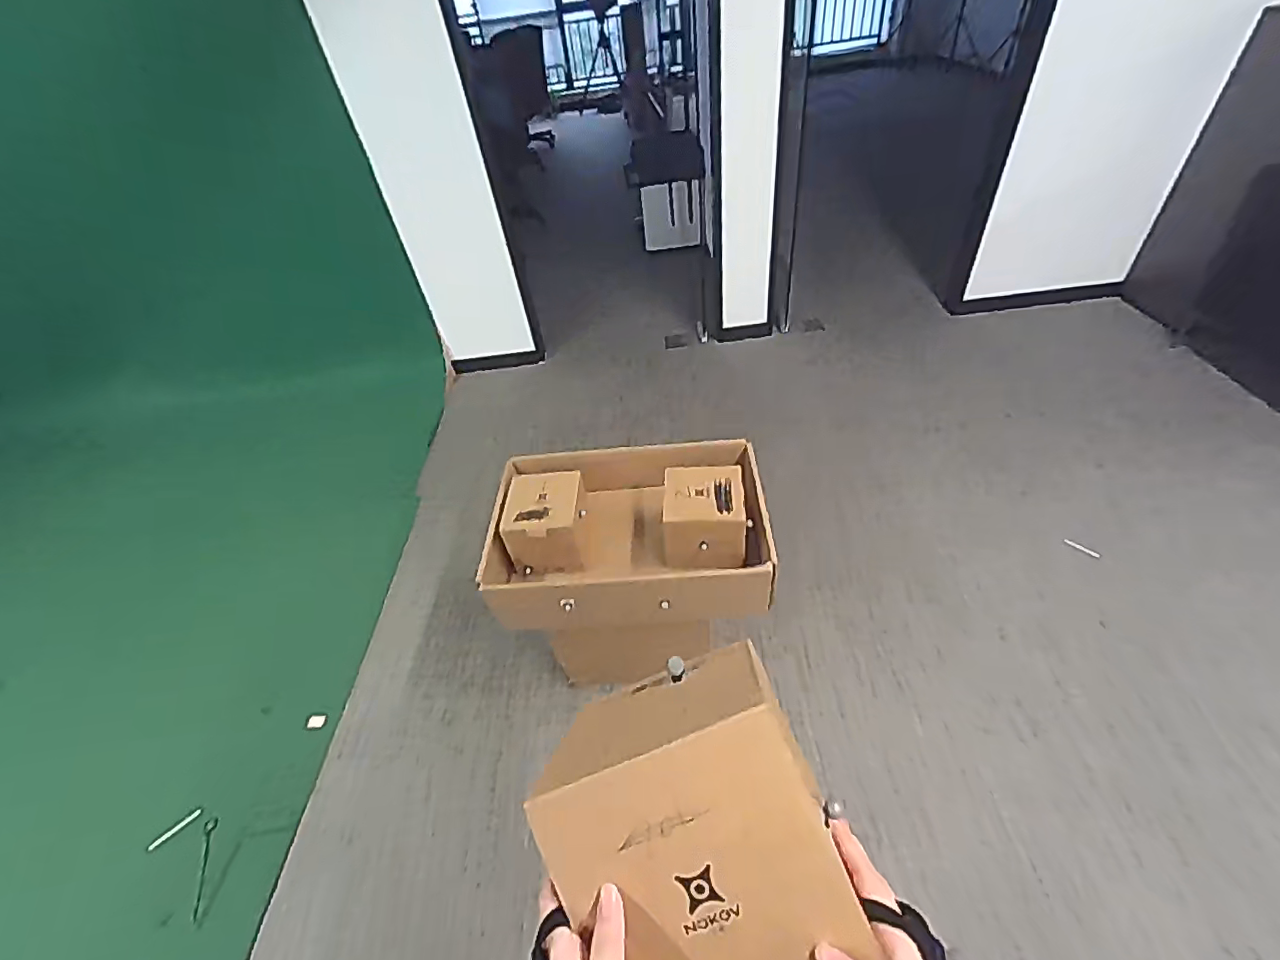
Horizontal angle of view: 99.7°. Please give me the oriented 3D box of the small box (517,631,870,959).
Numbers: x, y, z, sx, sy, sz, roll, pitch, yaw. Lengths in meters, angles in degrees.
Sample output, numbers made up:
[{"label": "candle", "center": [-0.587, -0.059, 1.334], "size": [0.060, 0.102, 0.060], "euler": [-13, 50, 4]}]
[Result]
[{"label": "small box", "center": [0.040, 0.238, 0.404], "size": [0.168, 0.176, 0.179], "euler": [-25, 85, 6]}]
